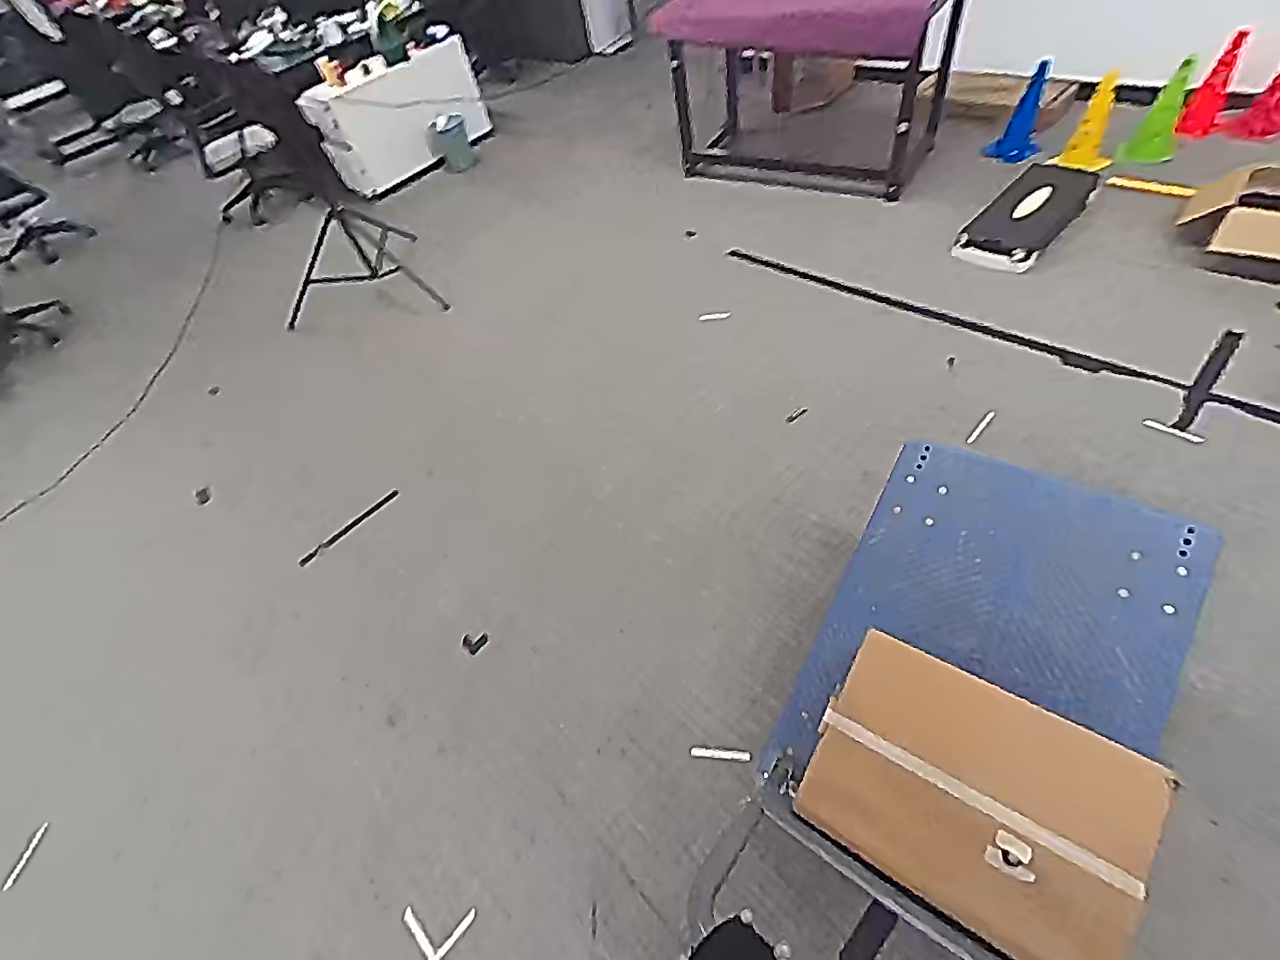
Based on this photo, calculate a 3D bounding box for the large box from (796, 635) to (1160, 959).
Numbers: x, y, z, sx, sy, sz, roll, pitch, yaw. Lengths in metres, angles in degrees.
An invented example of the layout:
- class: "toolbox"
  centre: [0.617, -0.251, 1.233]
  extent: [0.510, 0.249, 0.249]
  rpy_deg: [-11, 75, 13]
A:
- class: "large box"
  centre: [0.520, 0.510, 0.922]
  extent: [0.408, 0.320, 0.320]
  rpy_deg: [23, 79, 26]
